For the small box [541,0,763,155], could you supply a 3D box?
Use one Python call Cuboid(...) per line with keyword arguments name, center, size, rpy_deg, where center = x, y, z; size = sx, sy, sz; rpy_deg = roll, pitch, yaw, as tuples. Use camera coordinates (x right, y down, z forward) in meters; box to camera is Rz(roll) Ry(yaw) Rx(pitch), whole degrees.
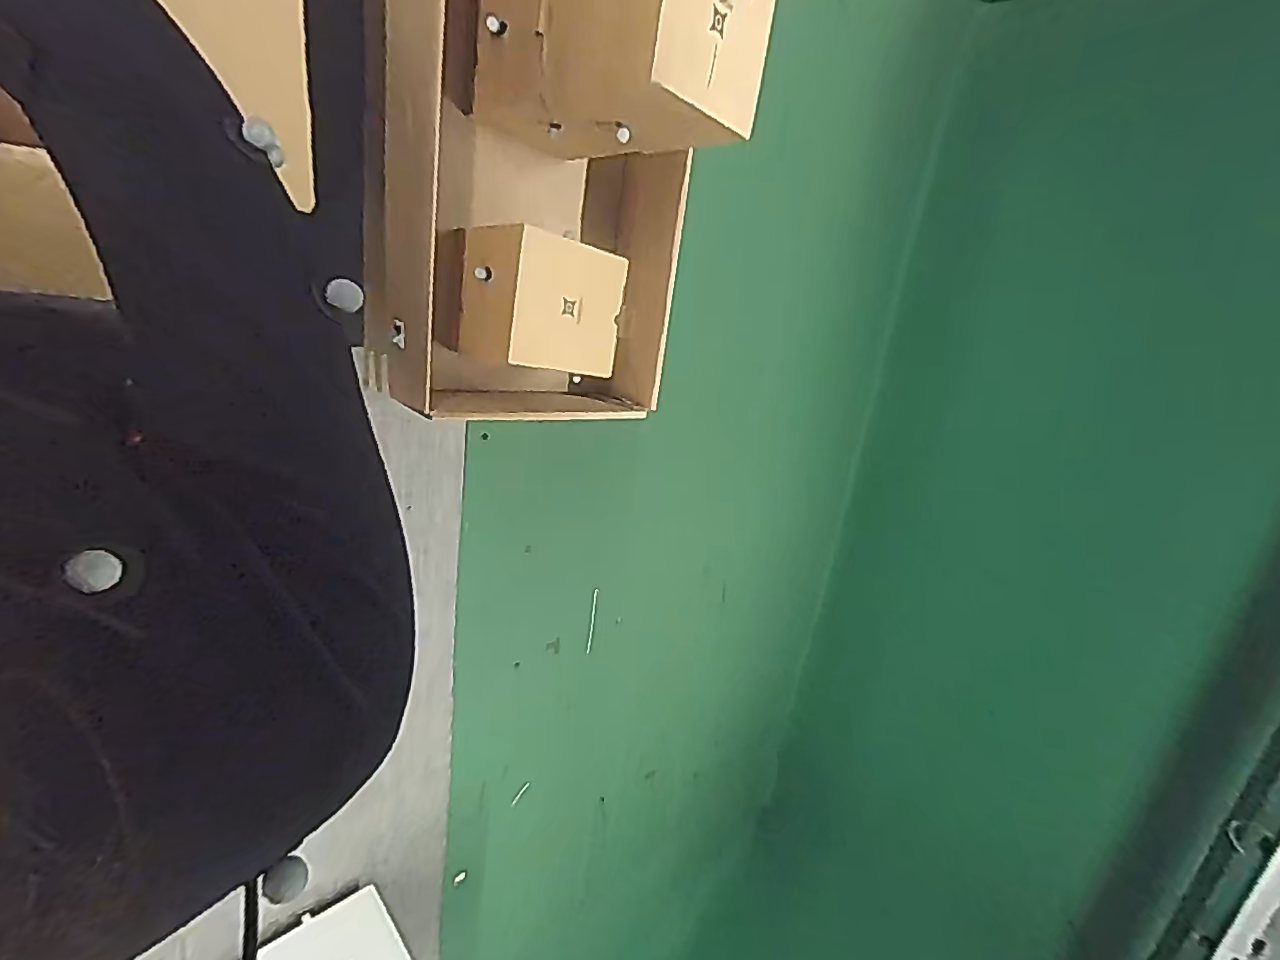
Cuboid(name="small box", center=(0.009, -0.480, 0.588), size=(0.168, 0.176, 0.179), rpy_deg=(-9, 114, -46))
